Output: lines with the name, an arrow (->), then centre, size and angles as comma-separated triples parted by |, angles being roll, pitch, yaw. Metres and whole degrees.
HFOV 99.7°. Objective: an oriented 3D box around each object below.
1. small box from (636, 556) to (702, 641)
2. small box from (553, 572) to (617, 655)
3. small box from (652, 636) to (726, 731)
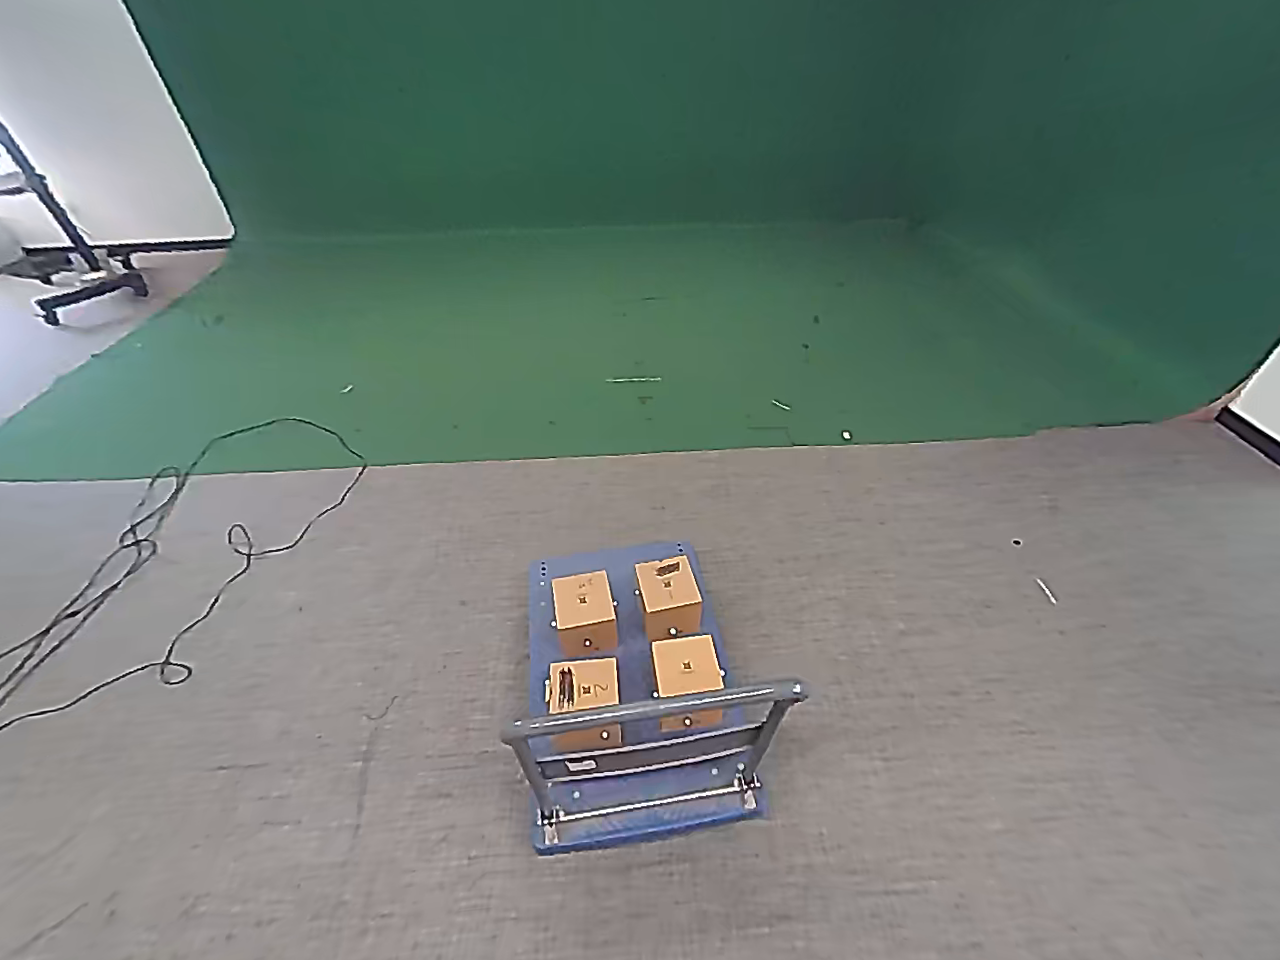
small box -> 0.083, 0.362, 1.648 | 0.168, 0.176, 0.179 | -9, 45, -7
small box -> -0.164, 0.403, 1.611 | 0.168, 0.176, 0.179 | -8, 44, -8
small box -> 0.124, 0.547, 1.454 | 0.168, 0.176, 0.179 | -5, 44, -5
